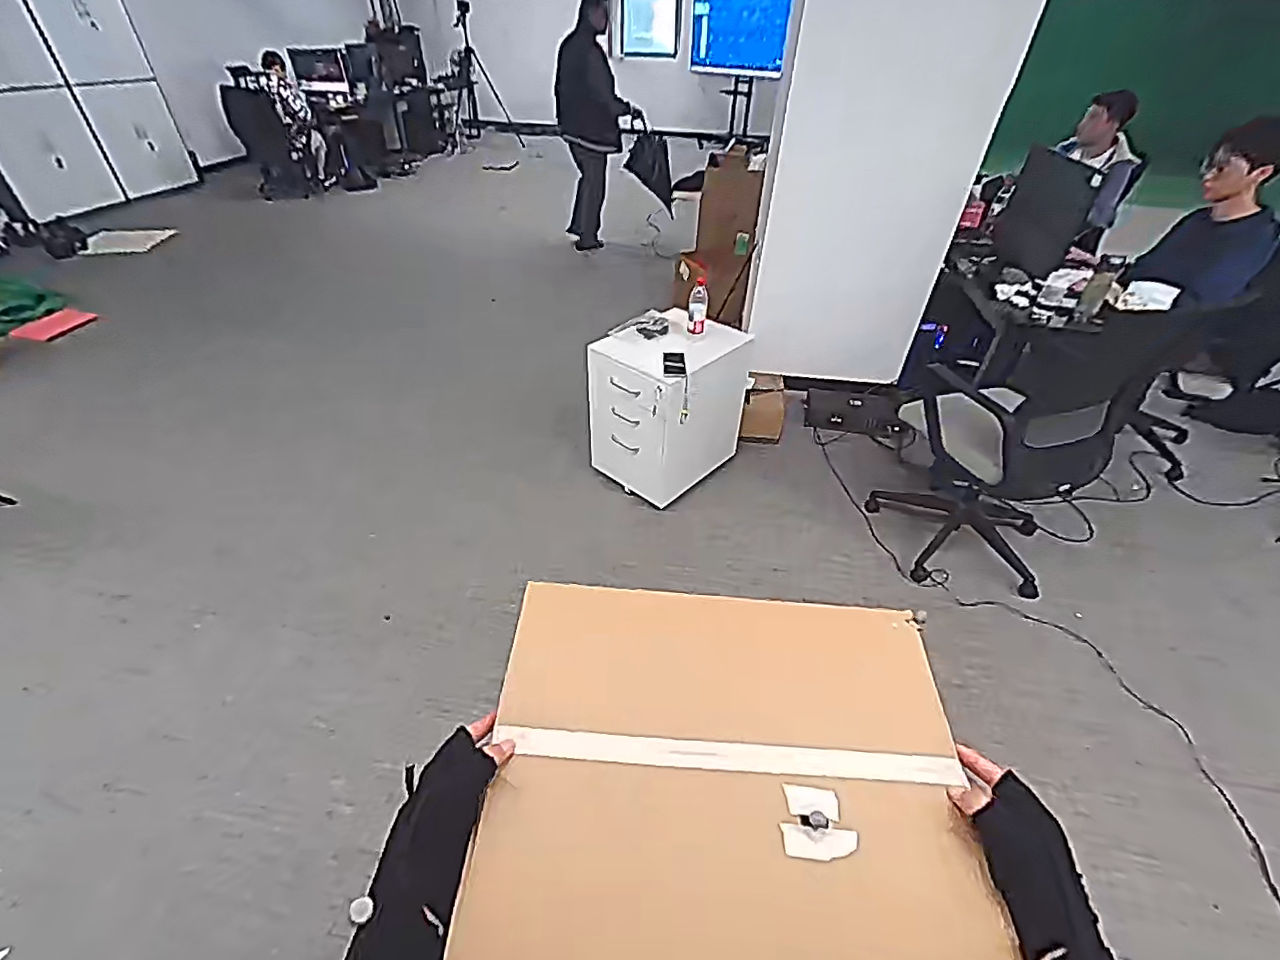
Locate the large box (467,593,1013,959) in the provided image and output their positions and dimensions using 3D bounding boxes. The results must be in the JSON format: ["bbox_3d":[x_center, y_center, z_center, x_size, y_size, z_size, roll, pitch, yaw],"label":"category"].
[{"bbox_3d":[0.070,0.345,0.586,0.408,0.320,0.320,4,48,0],"label":"large box"}]
